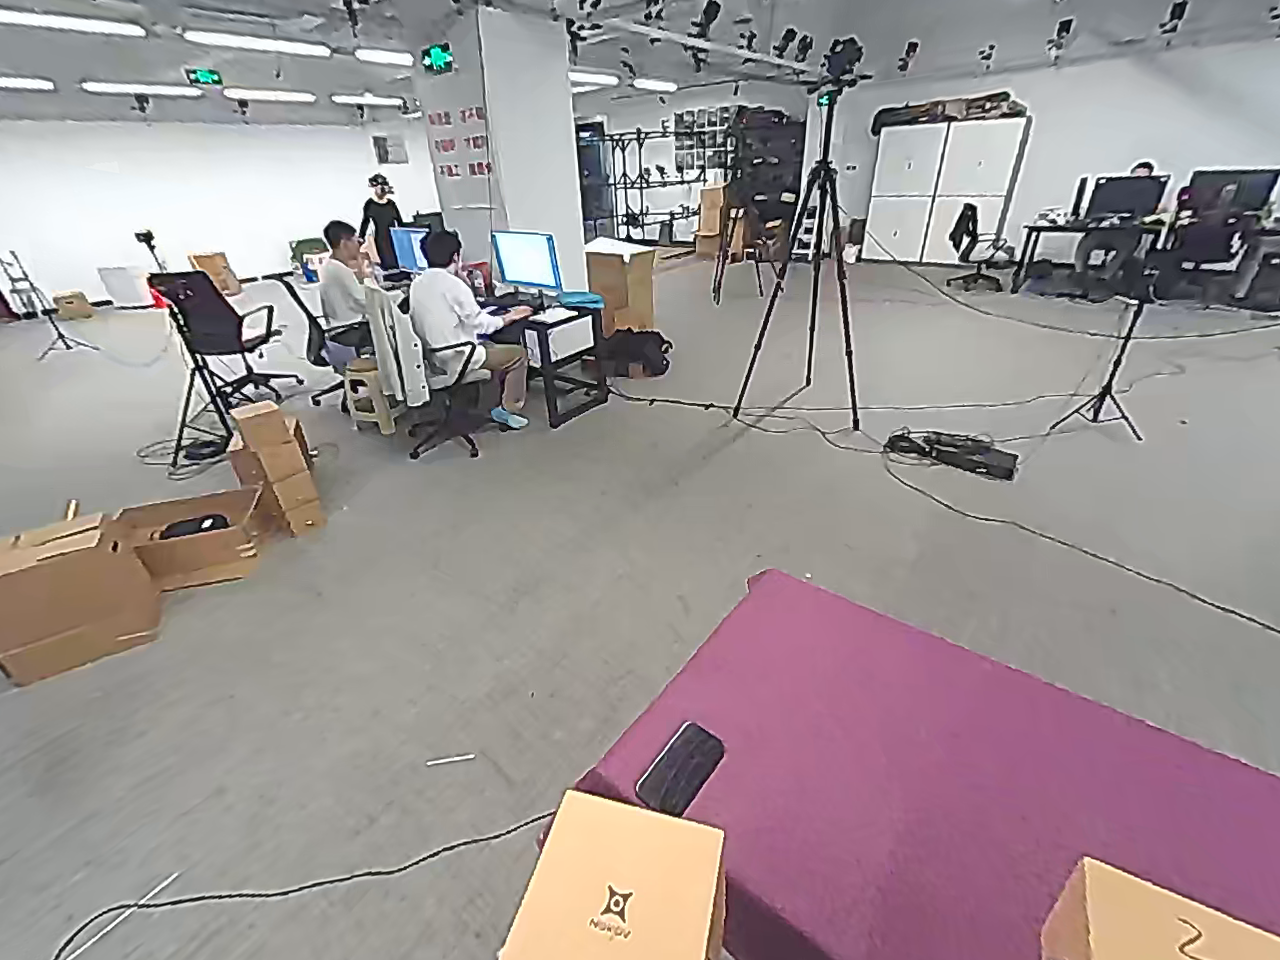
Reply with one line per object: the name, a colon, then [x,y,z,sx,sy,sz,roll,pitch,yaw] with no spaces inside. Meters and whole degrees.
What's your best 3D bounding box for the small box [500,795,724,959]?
small box: [-0.017,0.447,0.513,0.168,0.176,0.179,5,33,16]
